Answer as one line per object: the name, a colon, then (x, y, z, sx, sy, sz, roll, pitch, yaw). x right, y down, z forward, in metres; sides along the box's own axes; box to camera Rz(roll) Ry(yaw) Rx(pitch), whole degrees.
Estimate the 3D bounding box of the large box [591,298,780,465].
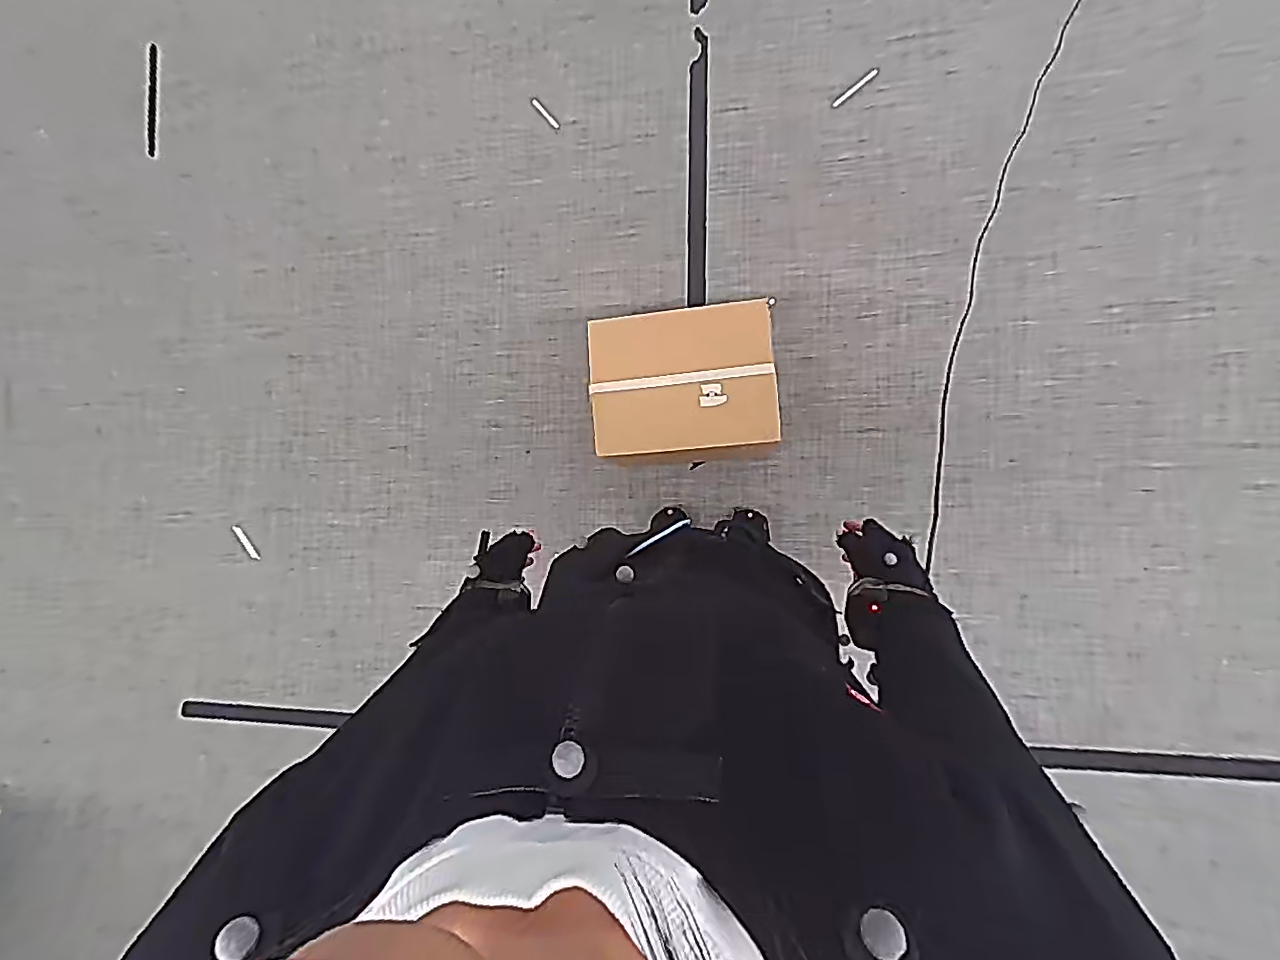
large box: (0.117, -0.219, 1.343, 0.408, 0.320, 0.320, -4, 87, 9)
